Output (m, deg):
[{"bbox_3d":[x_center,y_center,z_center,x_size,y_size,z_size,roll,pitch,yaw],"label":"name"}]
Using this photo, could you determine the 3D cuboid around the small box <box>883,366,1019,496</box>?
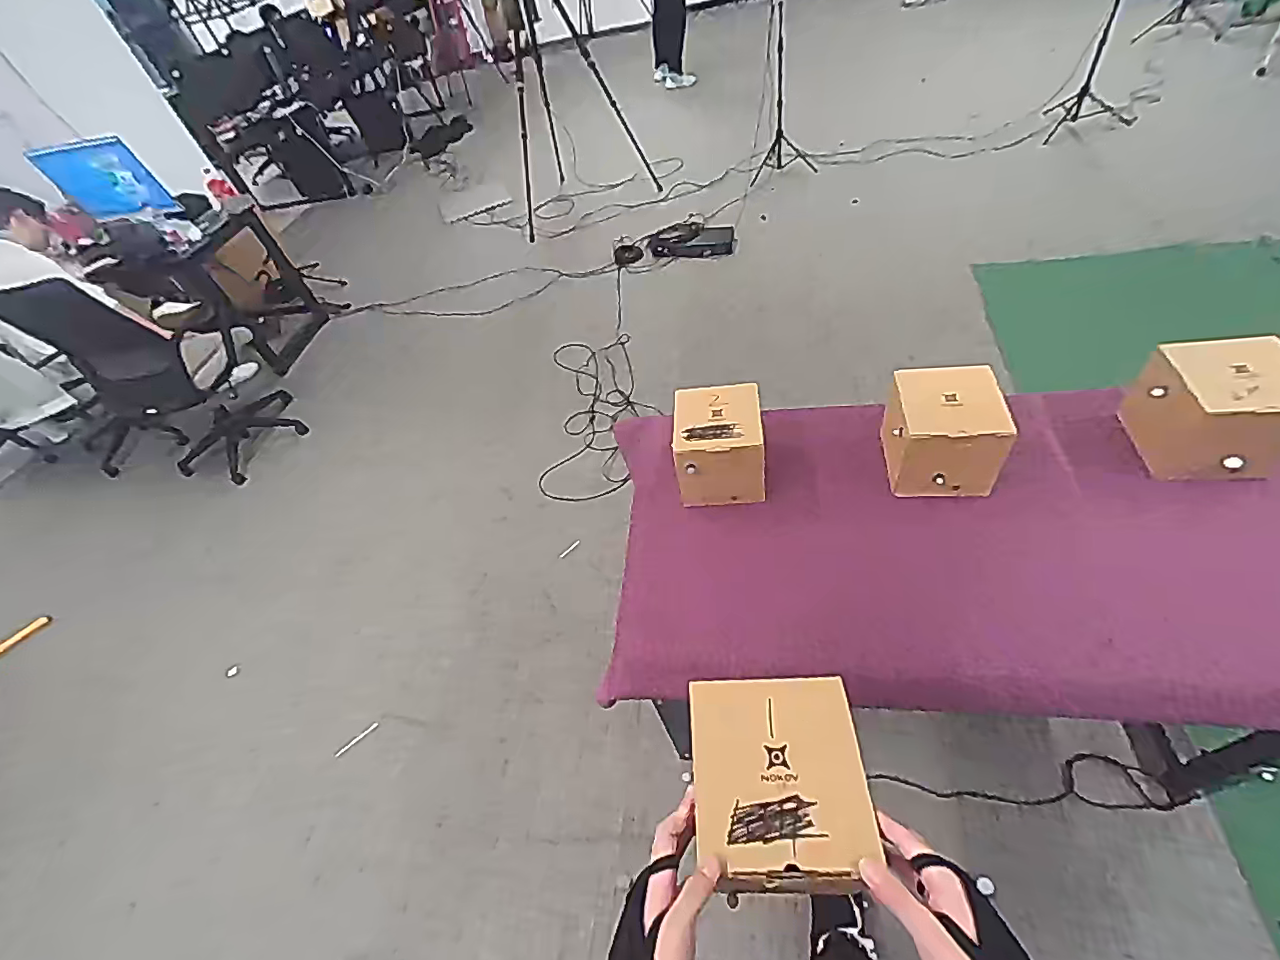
[{"bbox_3d":[0.562,-0.090,1.008,0.168,0.176,0.179,0,52,12],"label":"small box"}]

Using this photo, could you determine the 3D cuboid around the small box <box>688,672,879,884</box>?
[{"bbox_3d":[0.141,0.328,0.592,0.168,0.176,0.179,-3,48,5],"label":"small box"}]

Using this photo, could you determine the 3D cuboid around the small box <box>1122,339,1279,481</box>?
[{"bbox_3d":[0.983,-0.116,0.926,0.168,0.176,0.179,-1,51,15],"label":"small box"}]
